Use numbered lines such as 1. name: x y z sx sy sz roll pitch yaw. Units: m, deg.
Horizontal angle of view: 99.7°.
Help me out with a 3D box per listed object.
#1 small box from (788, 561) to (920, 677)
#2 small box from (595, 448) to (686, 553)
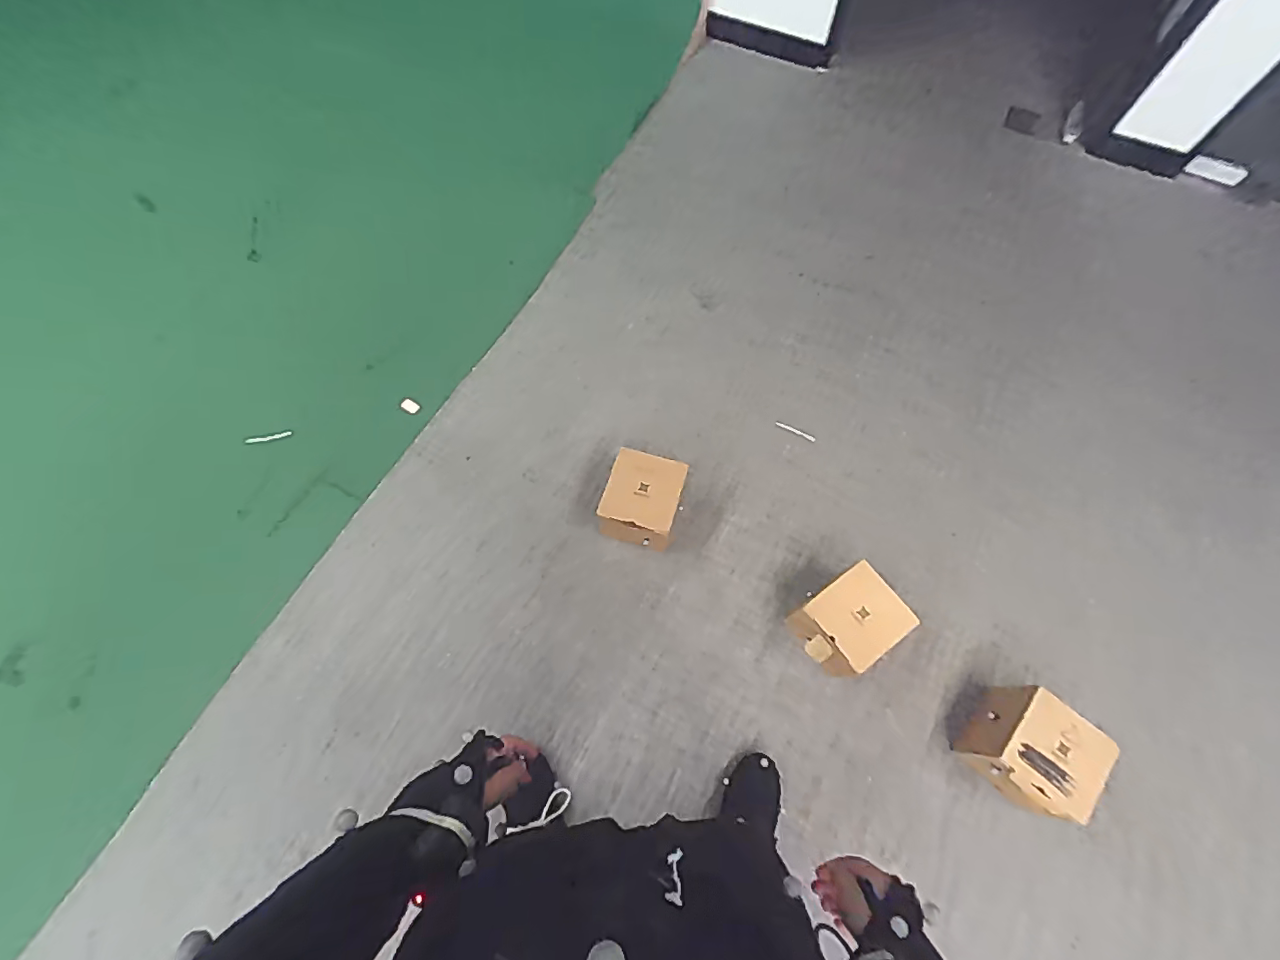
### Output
1. small box: 0.447 0.303 1.163 0.179 0.176 0.168 -35 72 -12
2. small box: 0.002 0.054 1.265 0.168 0.176 0.179 16 67 5
